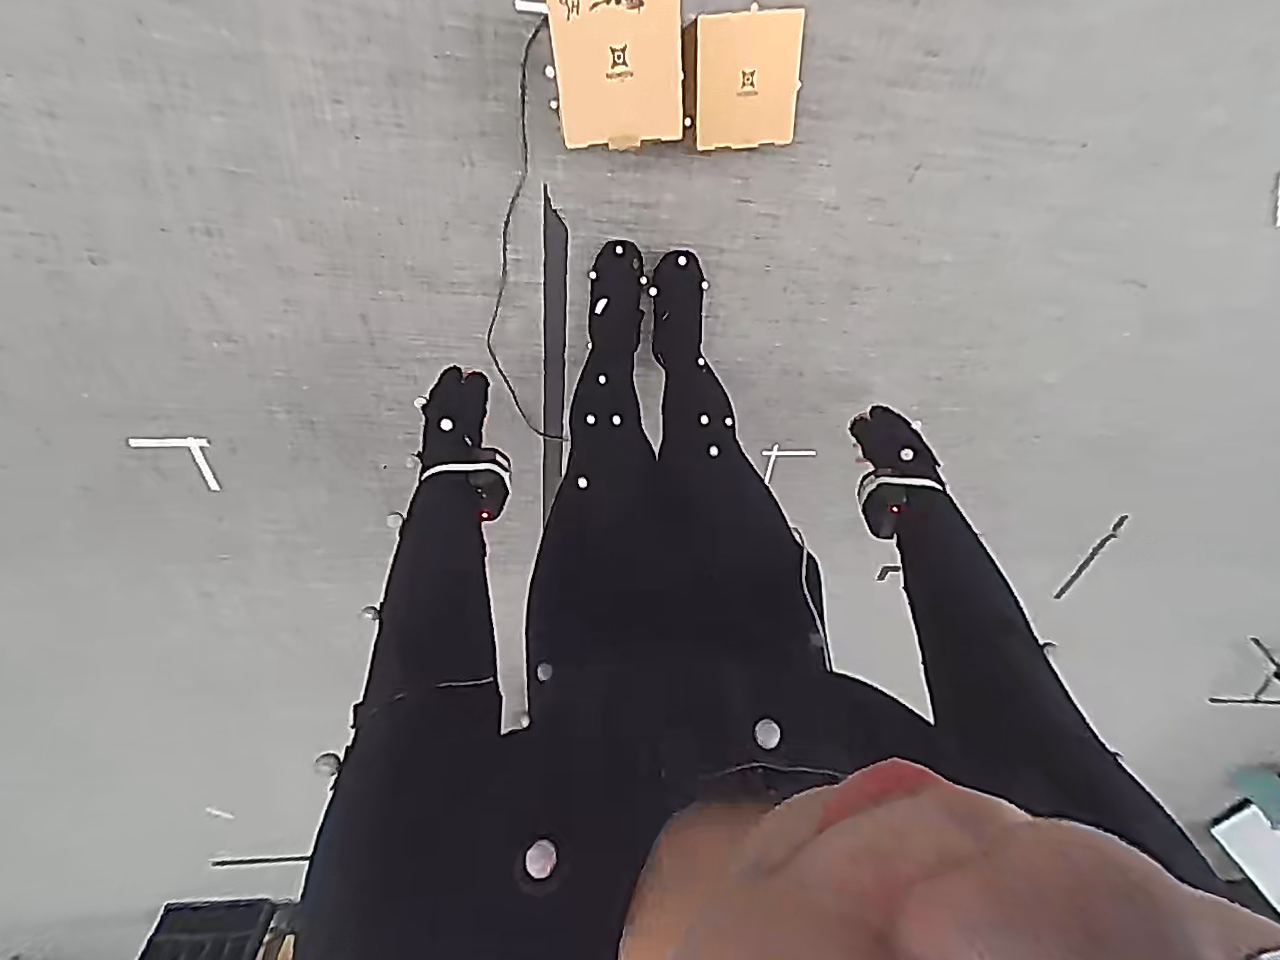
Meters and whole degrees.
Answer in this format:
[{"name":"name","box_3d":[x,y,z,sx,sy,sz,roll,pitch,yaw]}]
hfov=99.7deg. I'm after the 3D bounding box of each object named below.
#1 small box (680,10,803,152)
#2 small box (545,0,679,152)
[{"name":"small box","box_3d":[0.161,-0.673,0.921,0.168,0.176,0.179,-6,127,-2]},{"name":"small box","box_3d":[-0.037,-0.579,0.762,0.168,0.176,0.179,-7,127,-3]}]
